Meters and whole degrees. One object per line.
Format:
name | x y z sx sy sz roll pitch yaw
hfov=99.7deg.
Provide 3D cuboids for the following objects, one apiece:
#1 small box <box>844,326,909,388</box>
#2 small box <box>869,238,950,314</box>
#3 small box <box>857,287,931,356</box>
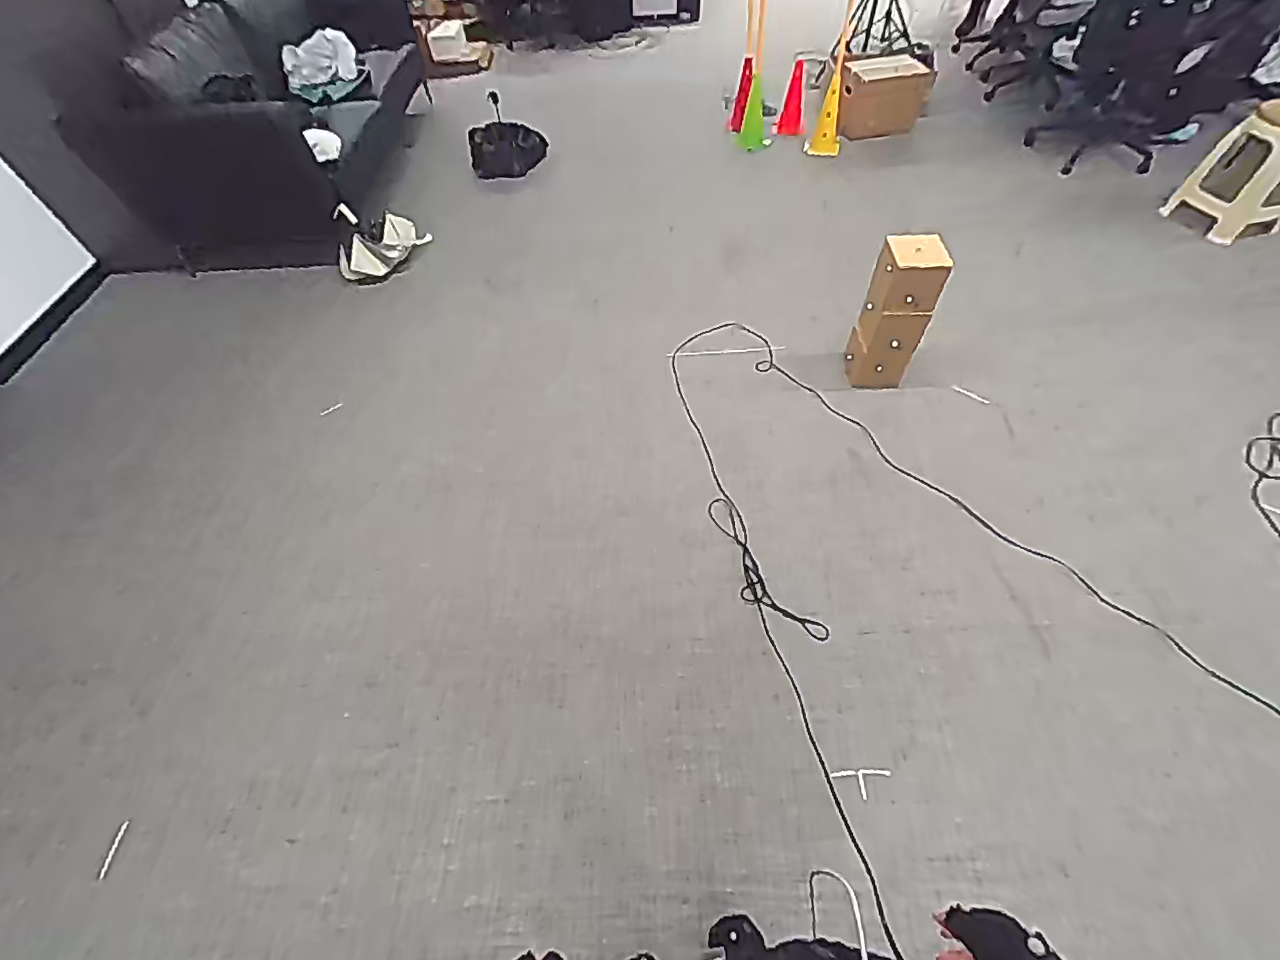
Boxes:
small box | 0.869 -0.454 2.003 0.179 0.176 0.168 -1 53 3
small box | 0.861 -0.657 1.746 0.168 0.176 0.179 0 54 3
small box | 0.868 -0.552 1.870 0.168 0.176 0.179 0 54 3
